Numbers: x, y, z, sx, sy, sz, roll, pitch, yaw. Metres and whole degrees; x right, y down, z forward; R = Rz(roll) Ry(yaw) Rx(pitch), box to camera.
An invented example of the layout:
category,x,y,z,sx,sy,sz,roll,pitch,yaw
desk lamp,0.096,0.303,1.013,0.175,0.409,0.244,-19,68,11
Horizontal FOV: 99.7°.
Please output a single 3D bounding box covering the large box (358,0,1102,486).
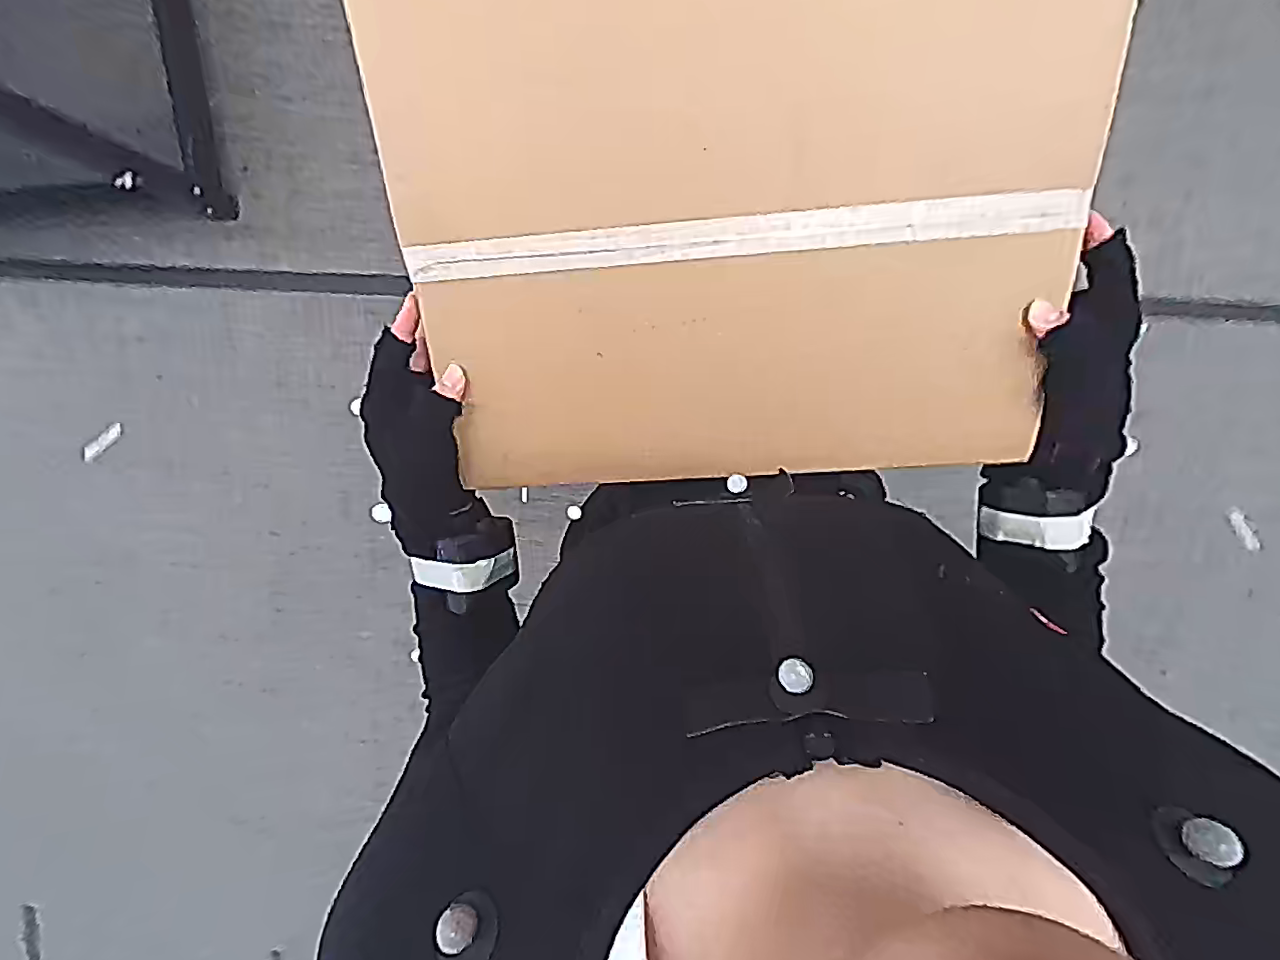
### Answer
category,x,y,z,sx,sy,sz,roll,pitch,yaw
large box,0.058,-0.208,0.474,0.408,0.320,0.320,-3,115,4
